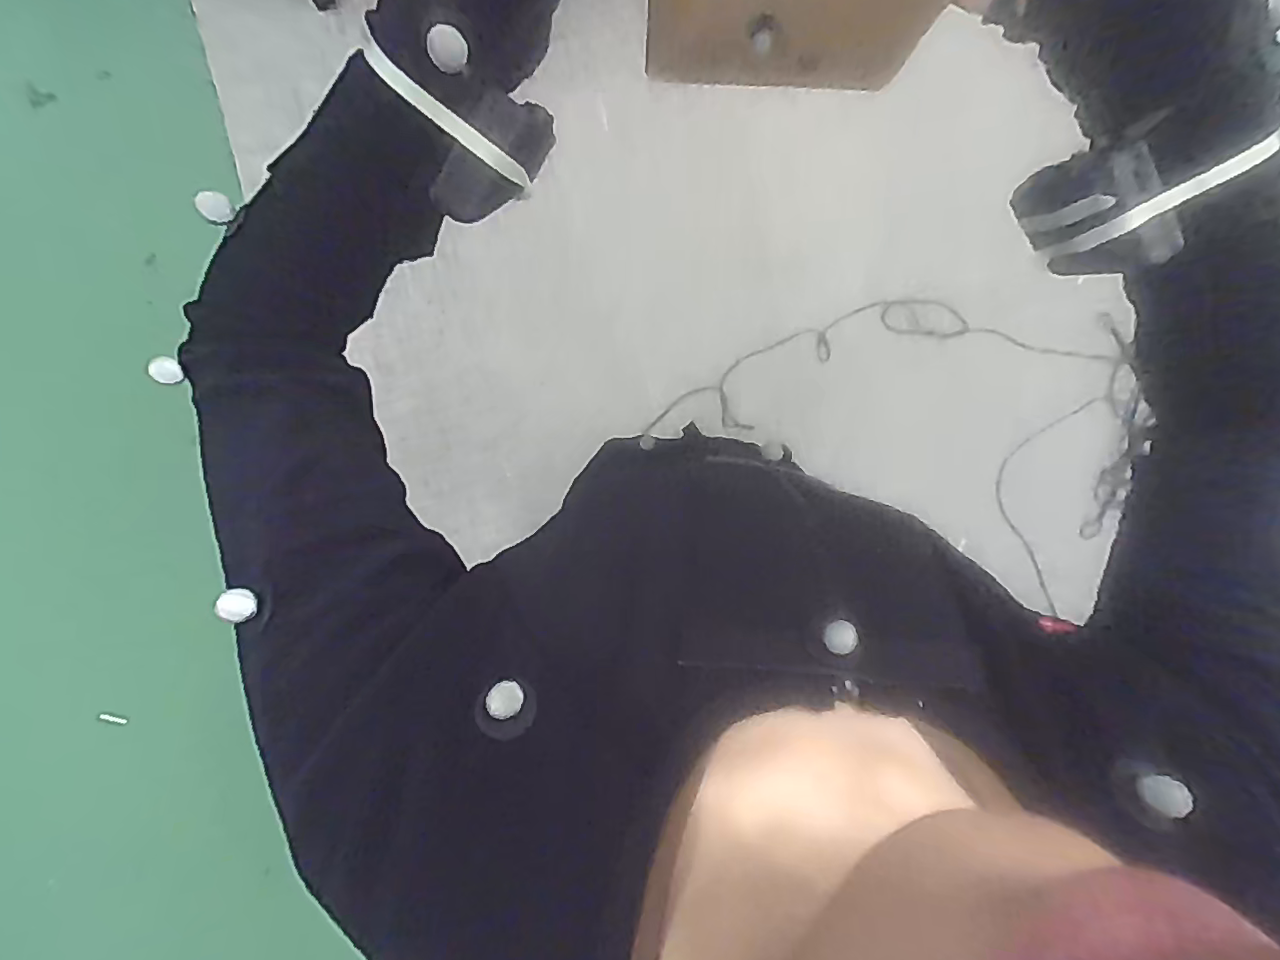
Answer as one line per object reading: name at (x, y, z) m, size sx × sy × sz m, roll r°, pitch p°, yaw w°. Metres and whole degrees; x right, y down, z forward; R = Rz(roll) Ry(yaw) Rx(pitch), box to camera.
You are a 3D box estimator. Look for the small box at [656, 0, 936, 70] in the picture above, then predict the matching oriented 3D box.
small box at (0.094, -0.358, 0.275) m, size 0.168 × 0.176 × 0.179 m, roll 2°, pitch 97°, yaw 0°
